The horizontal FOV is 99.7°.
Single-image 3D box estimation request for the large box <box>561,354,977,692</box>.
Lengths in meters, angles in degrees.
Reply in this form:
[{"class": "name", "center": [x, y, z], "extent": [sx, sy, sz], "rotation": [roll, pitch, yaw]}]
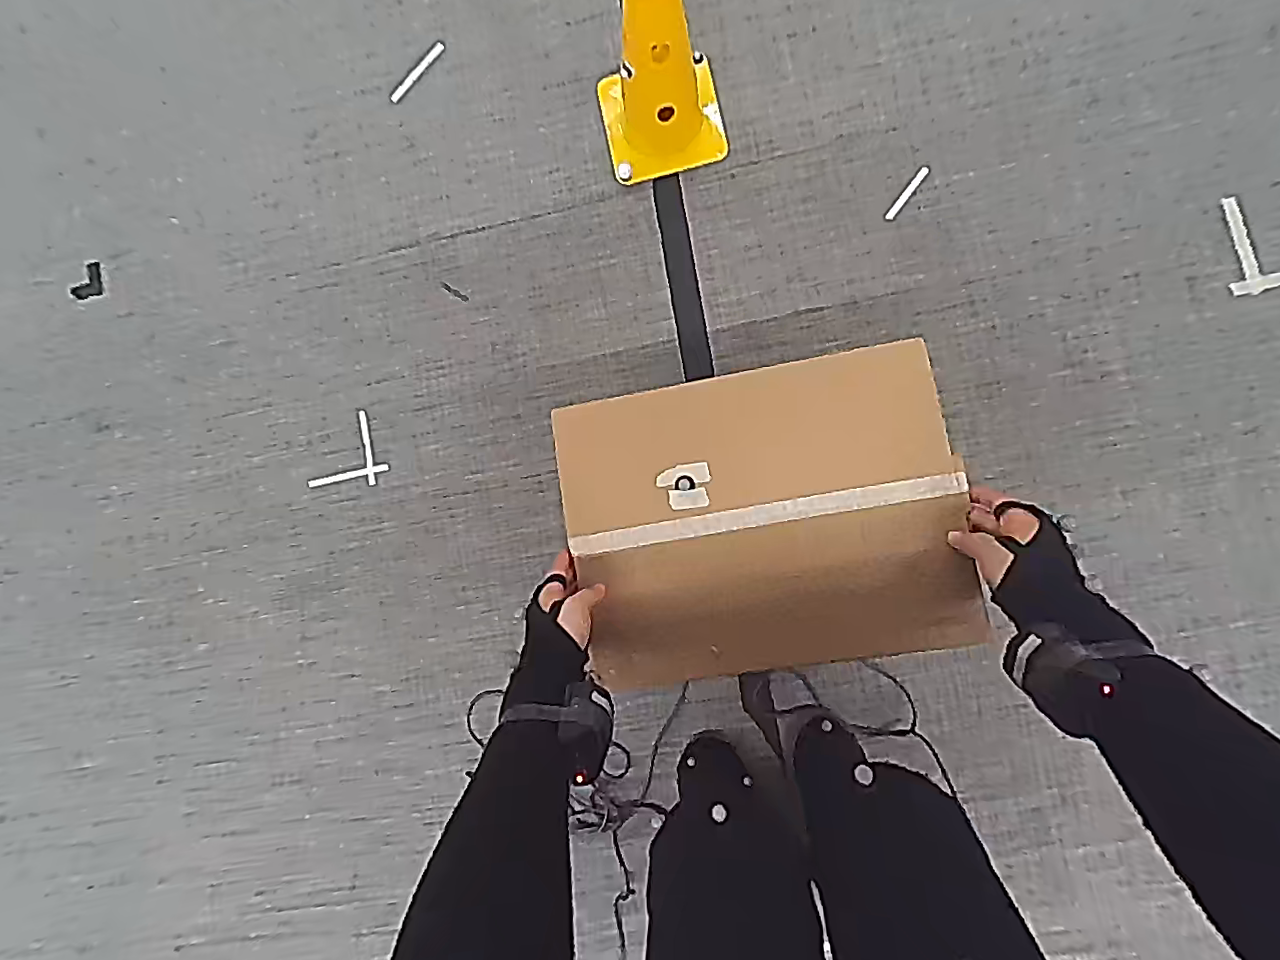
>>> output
[{"class": "large box", "center": [0.149, 0.061, 0.734], "extent": [0.408, 0.320, 0.320], "rotation": [-10, 83, 8]}]
